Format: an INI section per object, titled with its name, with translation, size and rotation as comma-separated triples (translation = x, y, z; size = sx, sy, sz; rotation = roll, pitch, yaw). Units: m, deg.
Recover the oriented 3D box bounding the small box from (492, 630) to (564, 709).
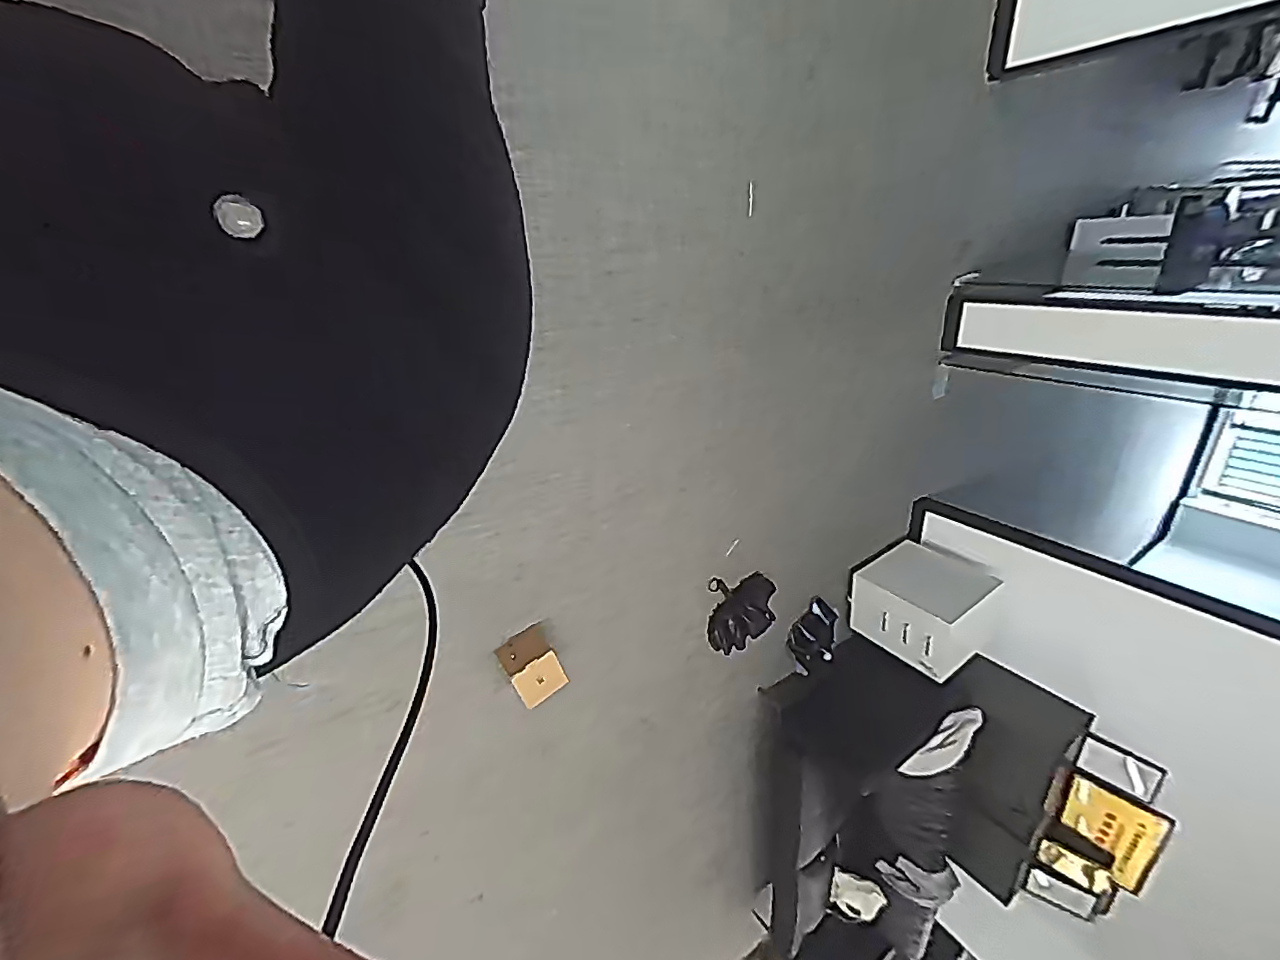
[small box]
translation = -0.398, 0.659, 1.910
size = 0.168, 0.176, 0.179
rotation = -31, 126, -21
